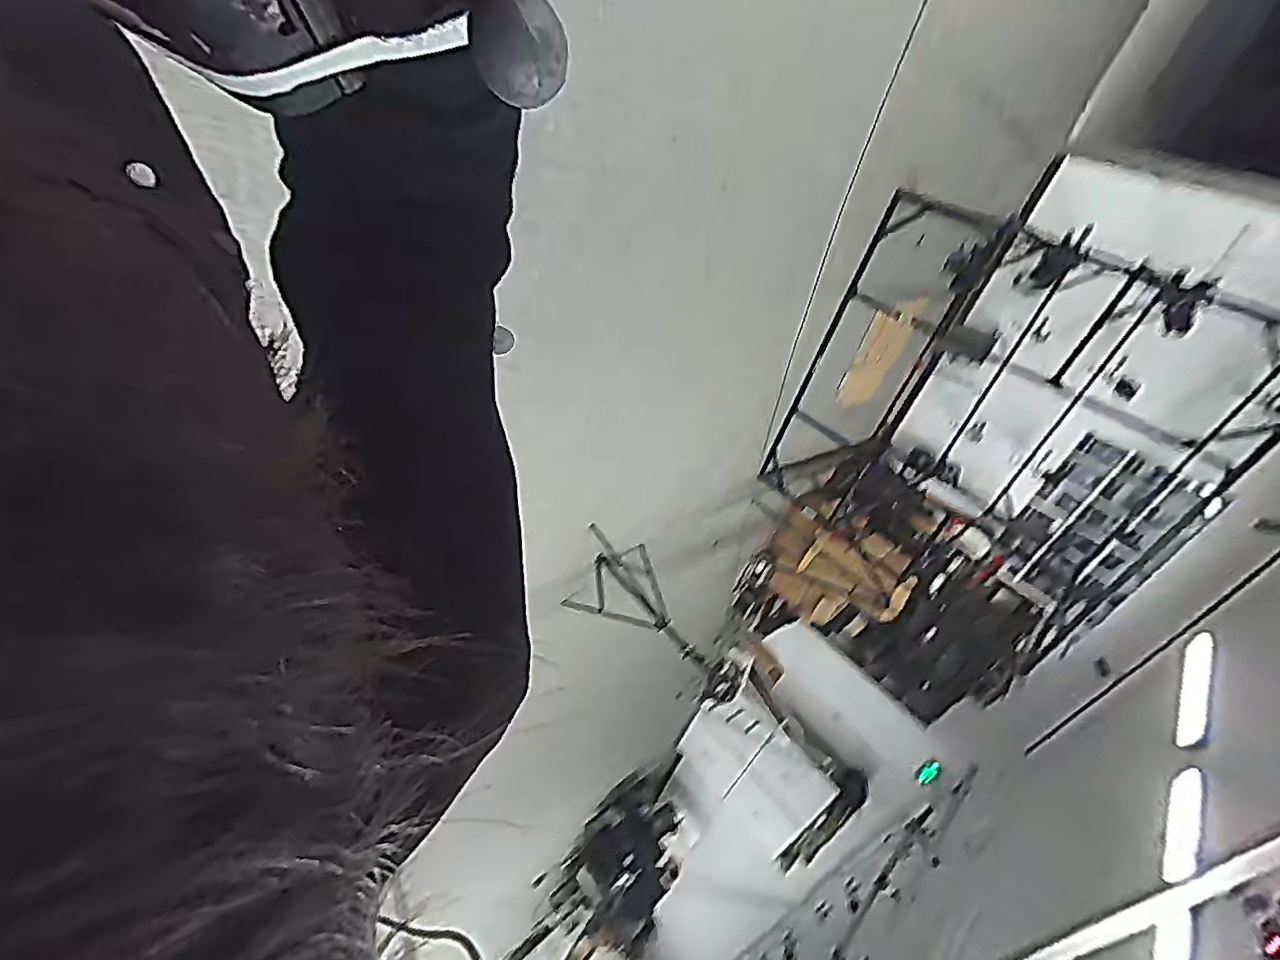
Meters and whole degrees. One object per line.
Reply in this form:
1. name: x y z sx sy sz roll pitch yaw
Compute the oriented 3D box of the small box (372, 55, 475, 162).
1. small box: -0.517 -0.879 1.281 0.179 0.176 0.168 -19 138 -42
